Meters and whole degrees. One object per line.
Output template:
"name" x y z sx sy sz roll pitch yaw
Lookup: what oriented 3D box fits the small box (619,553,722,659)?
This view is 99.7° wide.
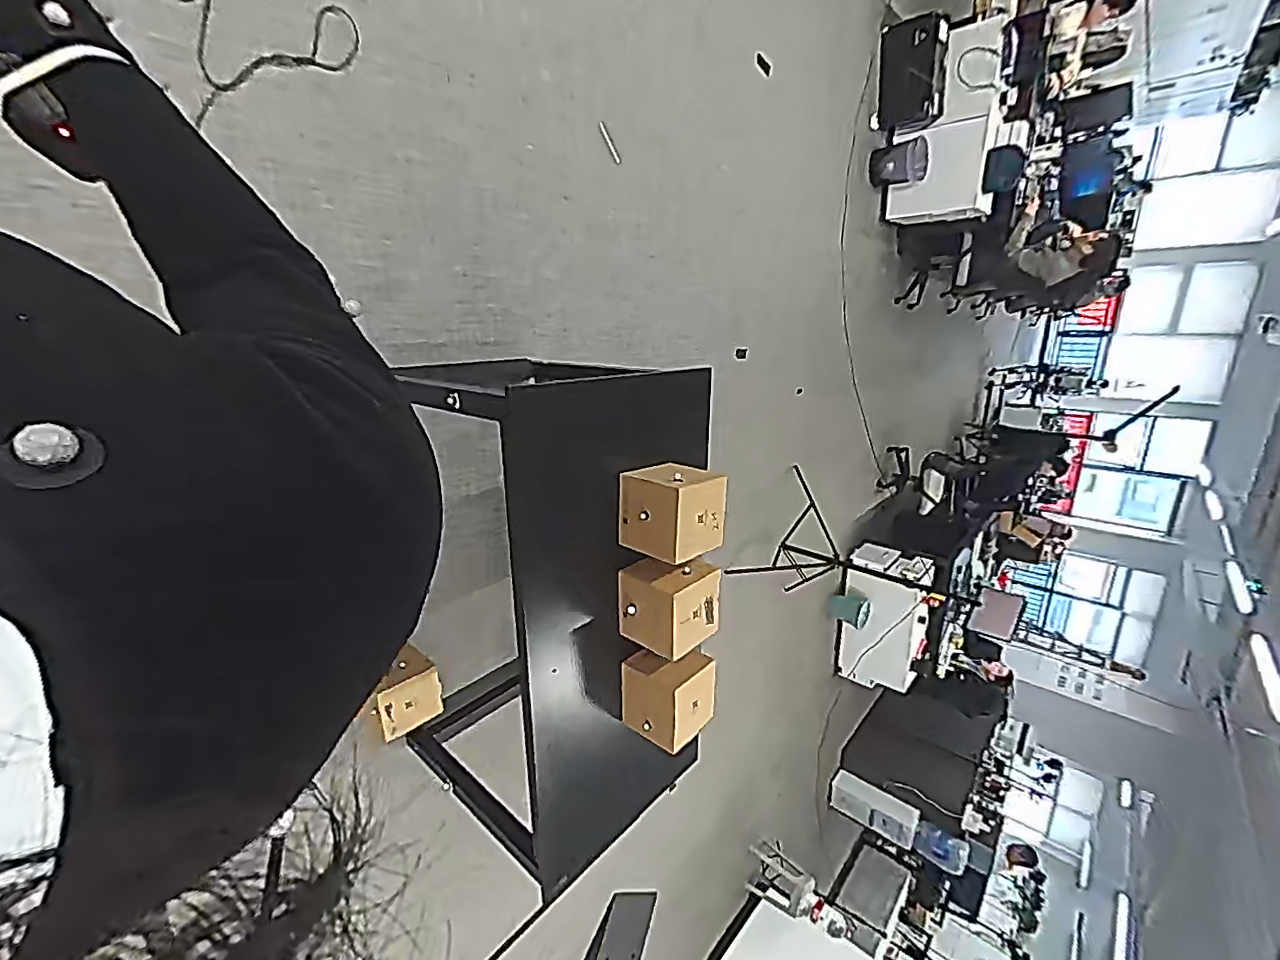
"small box" 0.071 0.279 1.260 0.179 0.176 0.168 -18 113 -45

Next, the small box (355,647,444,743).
"small box" -0.706 0.620 1.589 0.179 0.176 0.168 -19 114 -45

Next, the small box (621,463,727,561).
"small box" 0.072 0.063 1.200 0.179 0.176 0.168 -14 111 -47

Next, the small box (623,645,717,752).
"small box" 0.071 0.517 1.331 0.168 0.176 0.179 -18 113 -47
